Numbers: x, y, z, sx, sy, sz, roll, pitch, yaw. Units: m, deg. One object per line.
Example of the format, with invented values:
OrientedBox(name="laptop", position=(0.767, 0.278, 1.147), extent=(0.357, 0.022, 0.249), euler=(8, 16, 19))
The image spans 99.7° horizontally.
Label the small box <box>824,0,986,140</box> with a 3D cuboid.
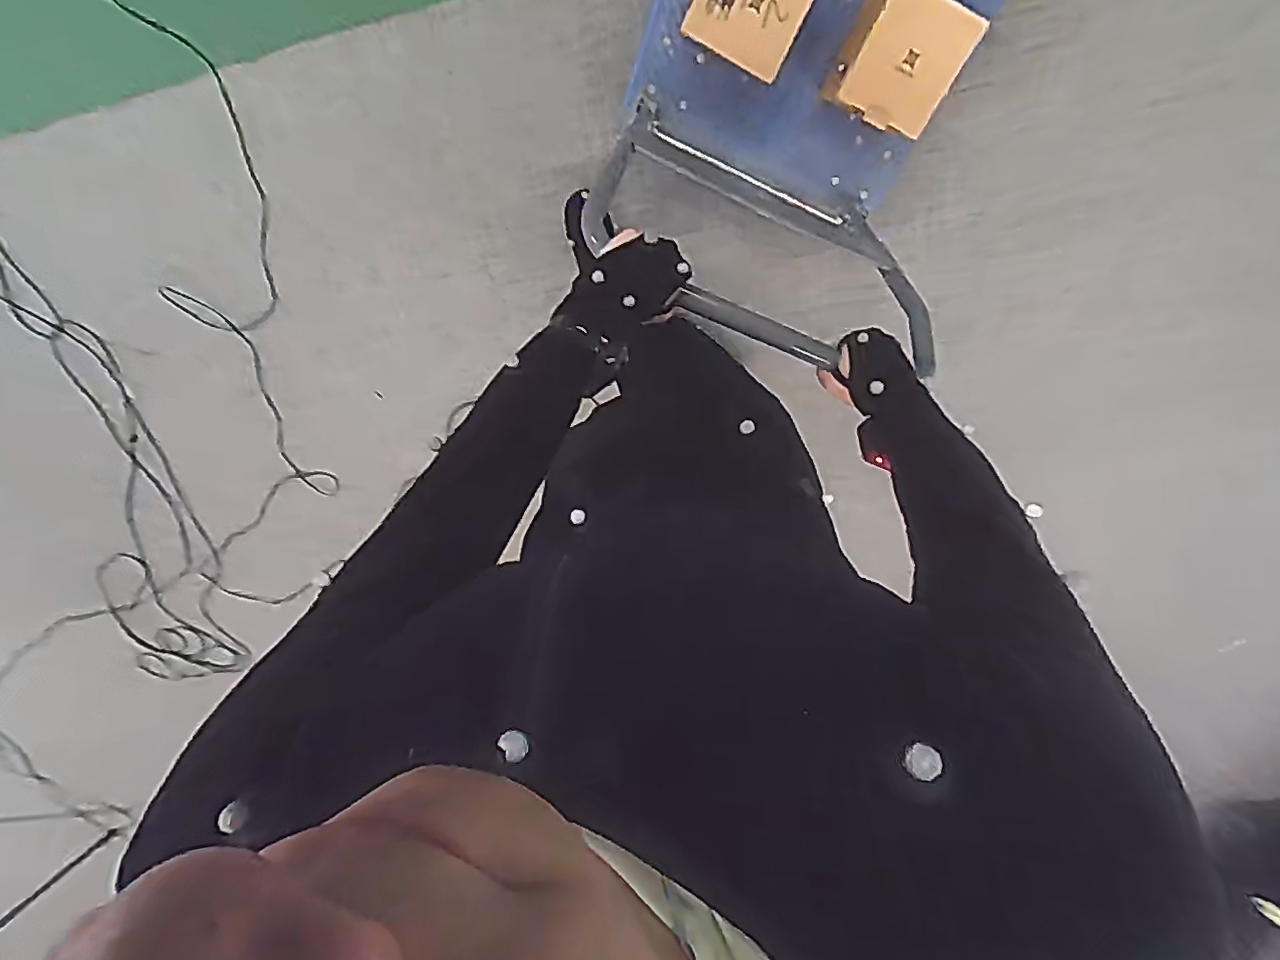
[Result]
OrientedBox(name="small box", position=(0.447, -0.736, 0.949), extent=(0.168, 0.176, 0.179), euler=(20, 128, -10))
